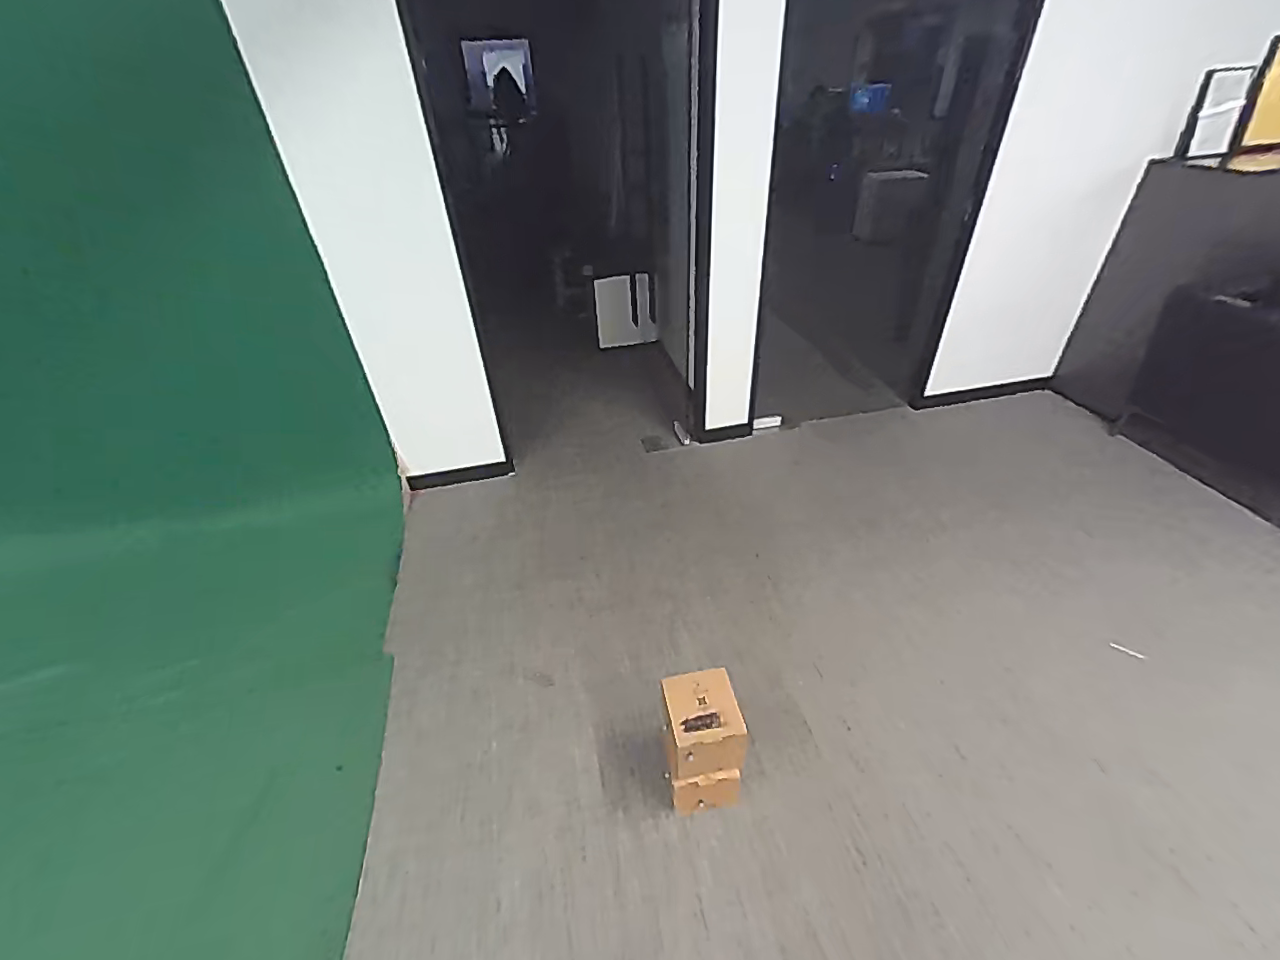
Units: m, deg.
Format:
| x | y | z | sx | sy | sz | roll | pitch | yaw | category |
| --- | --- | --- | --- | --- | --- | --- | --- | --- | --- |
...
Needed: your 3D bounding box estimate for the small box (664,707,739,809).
| x | y | z | sx | sy | sz | roll | pitch | yaw | category |
| --- | --- | --- | --- | --- | --- | --- | --- | --- | --- |
| 0.153 | 0.729 | 1.420 | 0.168 | 0.176 | 0.179 | -6 | 38 | -4 | small box |
